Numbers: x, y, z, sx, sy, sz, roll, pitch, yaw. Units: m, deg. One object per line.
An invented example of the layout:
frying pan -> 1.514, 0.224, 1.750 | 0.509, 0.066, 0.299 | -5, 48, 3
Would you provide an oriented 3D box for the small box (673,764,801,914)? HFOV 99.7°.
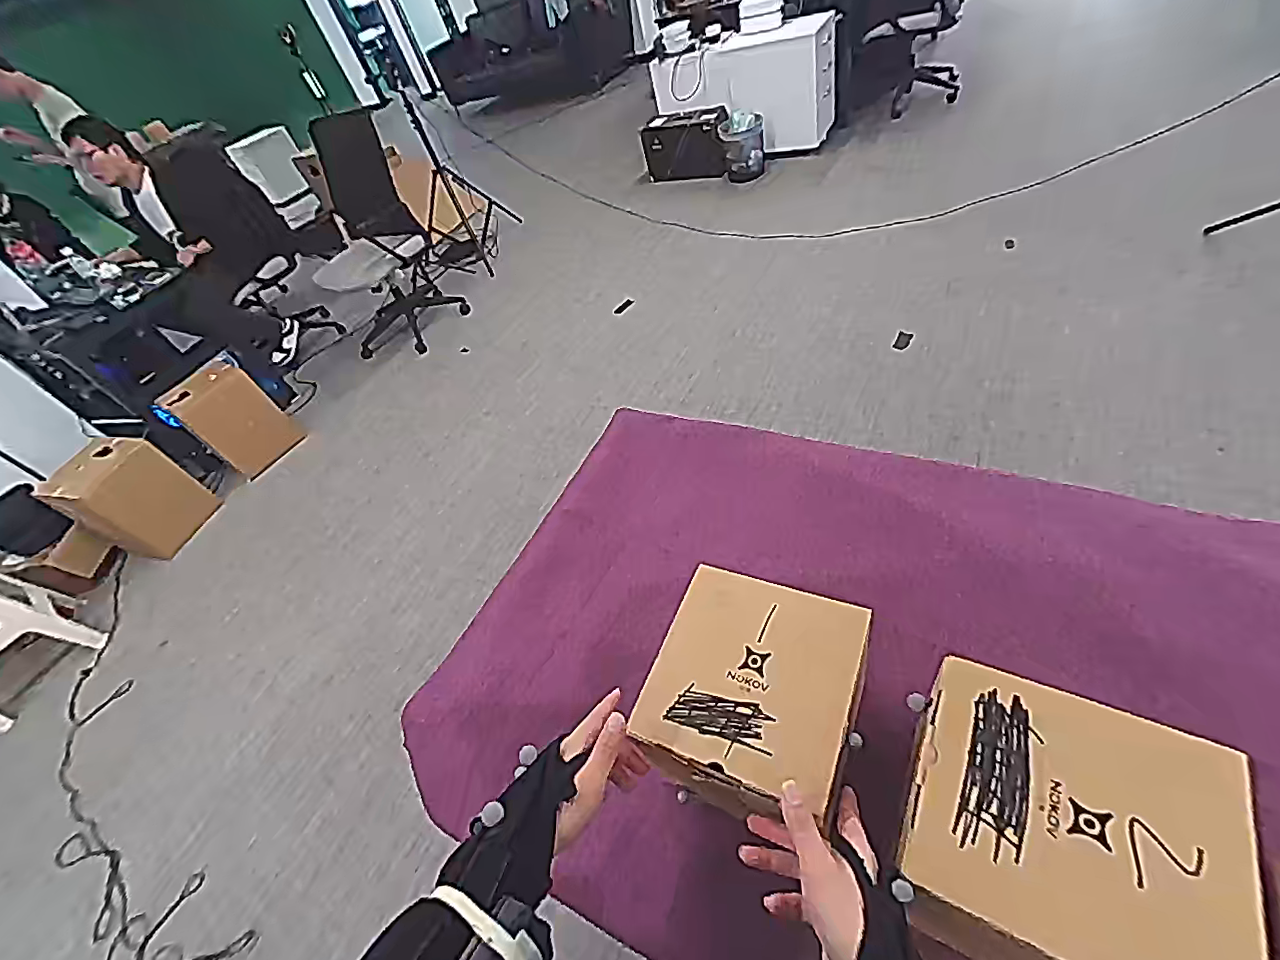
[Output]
small box -> 0.183, 0.640, 0.969 | 0.179, 0.176, 0.168 | 9, 55, 26
